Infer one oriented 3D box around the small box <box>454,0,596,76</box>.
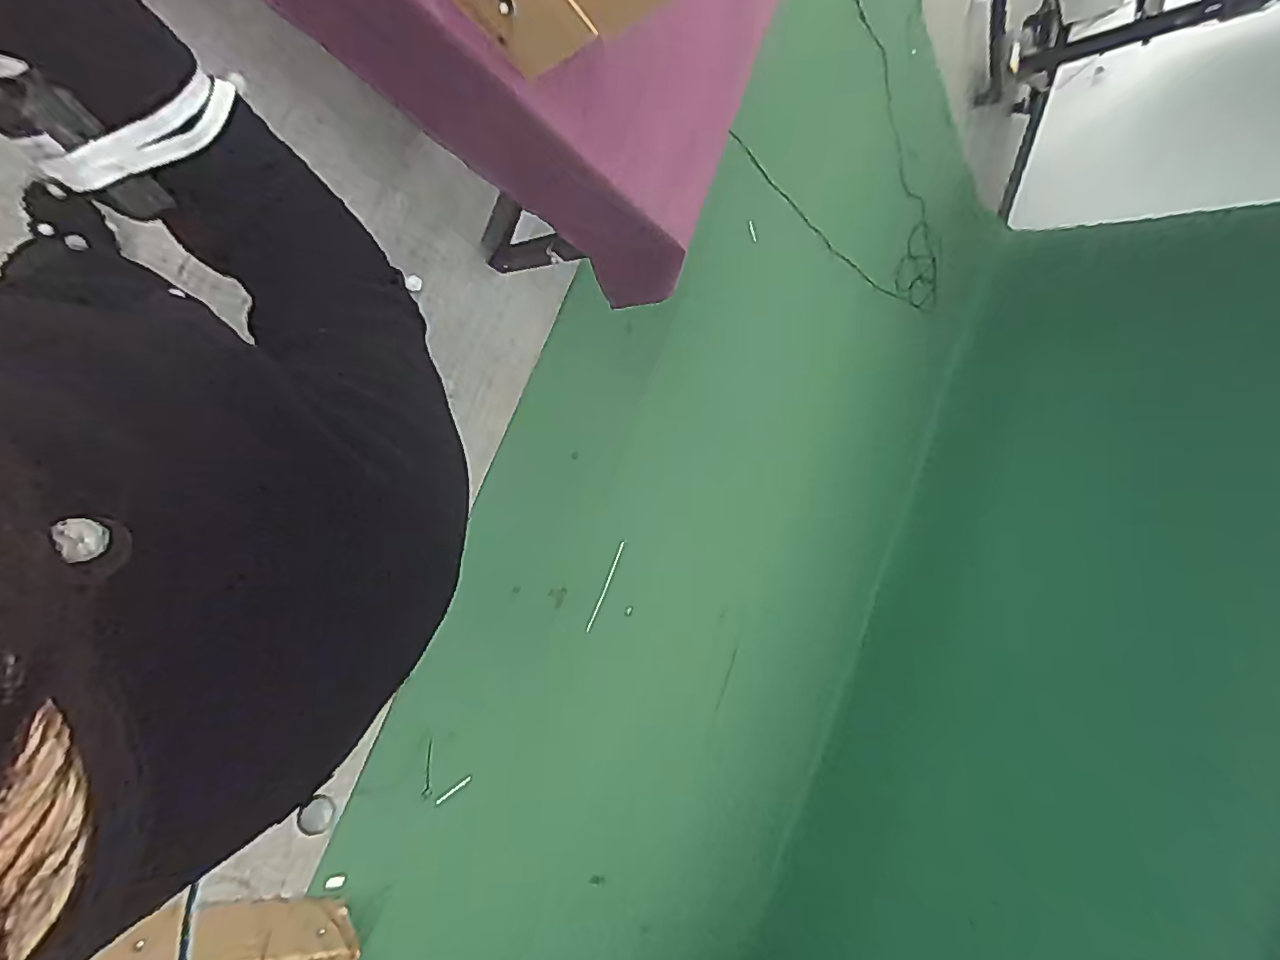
[{"bbox_3d":[-0.136,-0.673,0.690,0.168,0.176,0.179,27,82,-44],"label":"small box"}]
